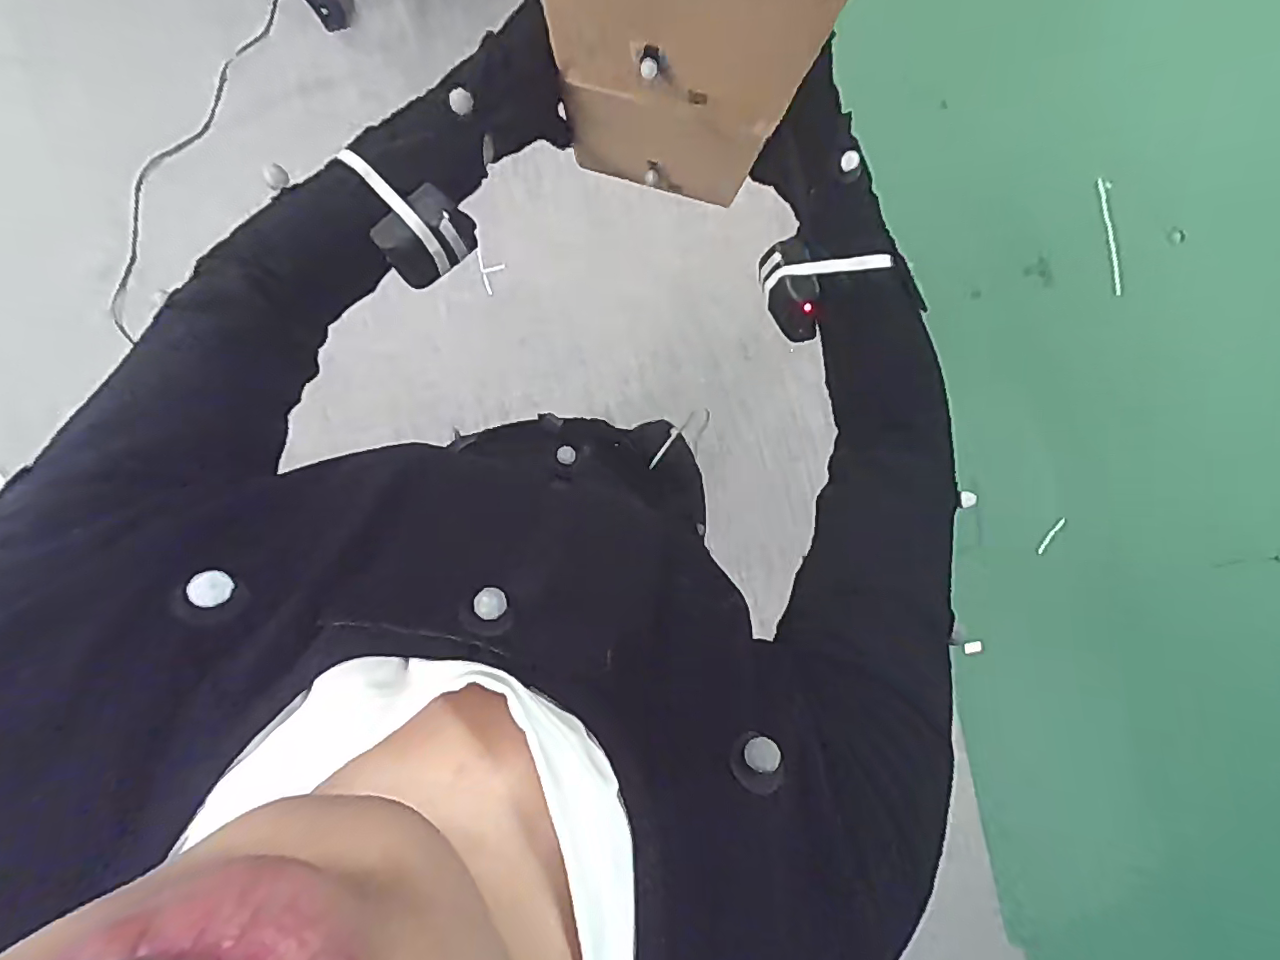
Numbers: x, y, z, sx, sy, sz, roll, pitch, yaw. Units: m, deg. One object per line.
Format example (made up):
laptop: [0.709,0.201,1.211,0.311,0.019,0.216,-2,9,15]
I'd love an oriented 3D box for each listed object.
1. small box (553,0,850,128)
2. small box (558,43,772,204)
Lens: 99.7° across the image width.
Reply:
small box: [0.041,-0.345,0.305,0.168,0.176,0.179,12,100,-4]
small box: [0.036,-0.373,0.465,0.168,0.176,0.179,14,100,-3]
